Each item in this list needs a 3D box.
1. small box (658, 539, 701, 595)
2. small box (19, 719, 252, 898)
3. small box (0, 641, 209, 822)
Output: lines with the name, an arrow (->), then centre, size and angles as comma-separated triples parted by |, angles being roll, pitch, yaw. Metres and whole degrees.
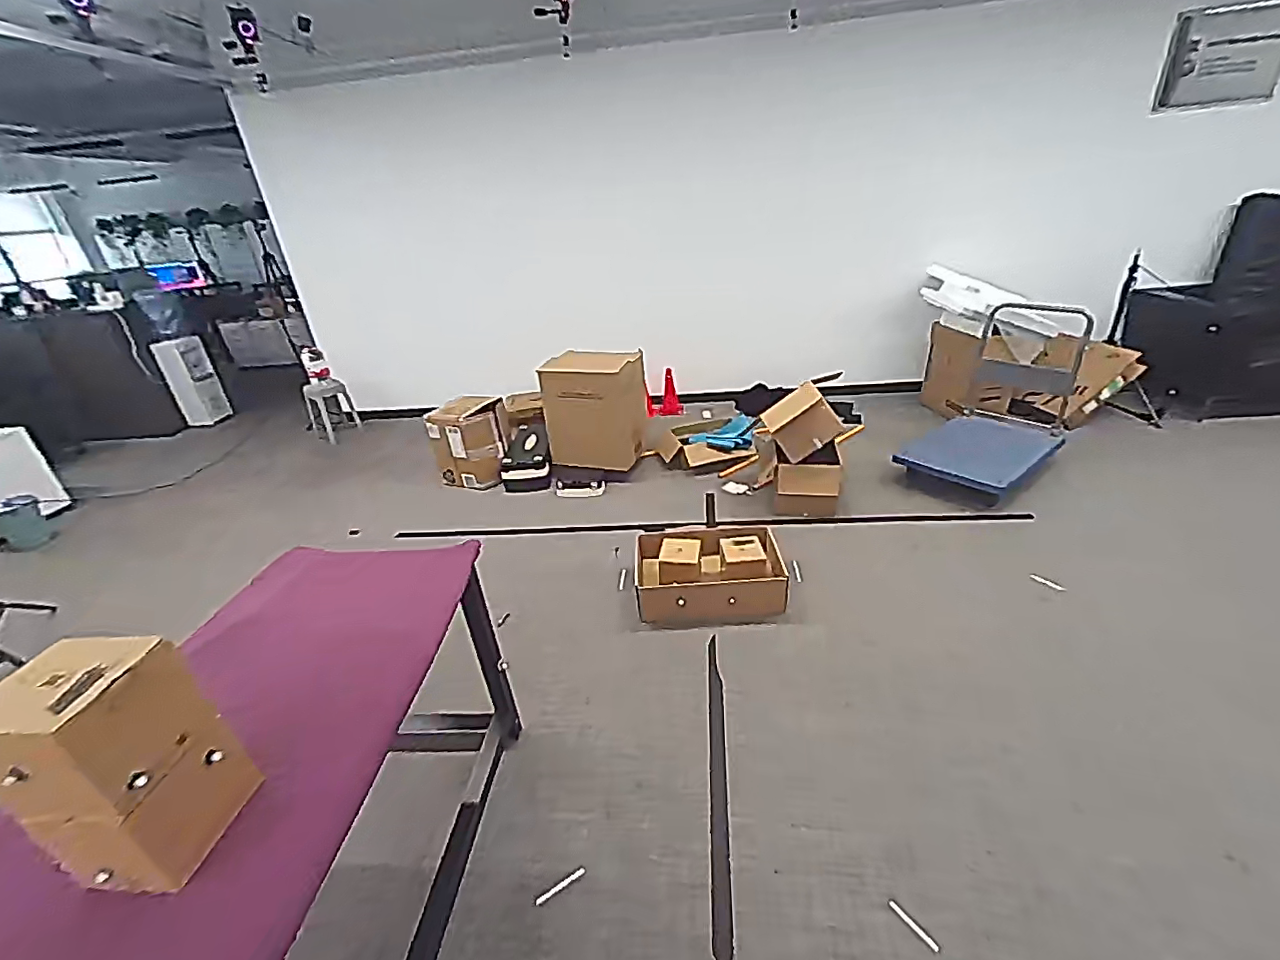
small box -> 0.175, 0.378, 2.352 | 0.168, 0.176, 0.179 | 1, 28, 11
small box -> -0.741, 0.492, 0.826 | 0.168, 0.176, 0.179 | -3, 27, 7
small box -> -0.764, 0.346, 0.752 | 0.179, 0.176, 0.168 | -4, 27, 6
